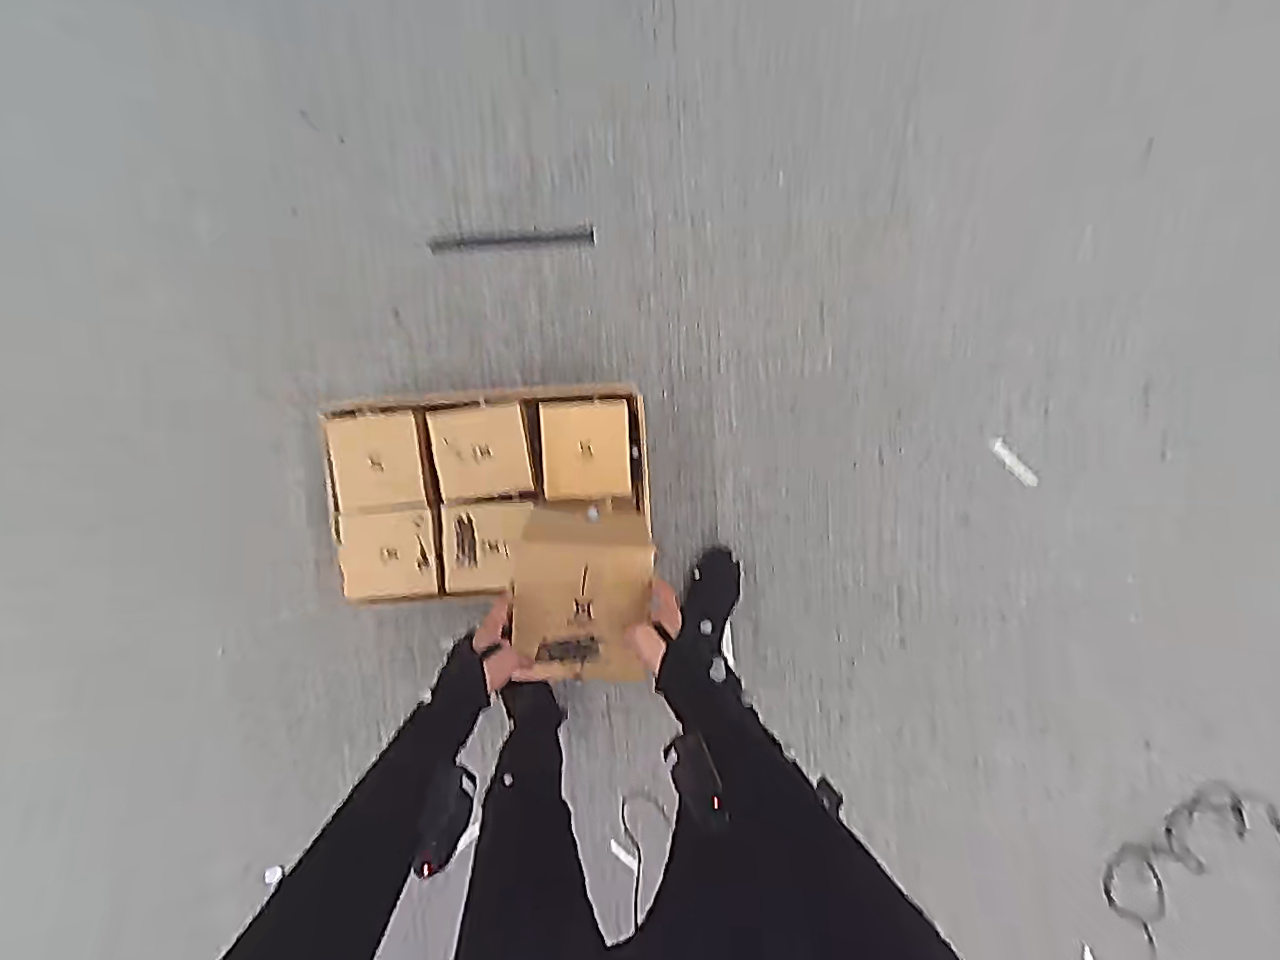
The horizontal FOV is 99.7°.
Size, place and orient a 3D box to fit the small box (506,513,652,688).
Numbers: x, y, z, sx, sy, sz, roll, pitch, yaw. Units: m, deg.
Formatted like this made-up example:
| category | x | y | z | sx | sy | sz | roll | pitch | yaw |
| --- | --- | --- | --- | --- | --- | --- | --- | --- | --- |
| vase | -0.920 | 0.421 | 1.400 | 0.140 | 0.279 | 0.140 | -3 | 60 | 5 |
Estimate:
| category | x | y | z | sx | sy | sz | roll | pitch | yaw |
| --- | --- | --- | --- | --- | --- | --- | --- | --- | --- |
| small box | -0.080 | 0.153 | 0.725 | 0.168 | 0.176 | 0.179 | 4 | 99 | -6 |
